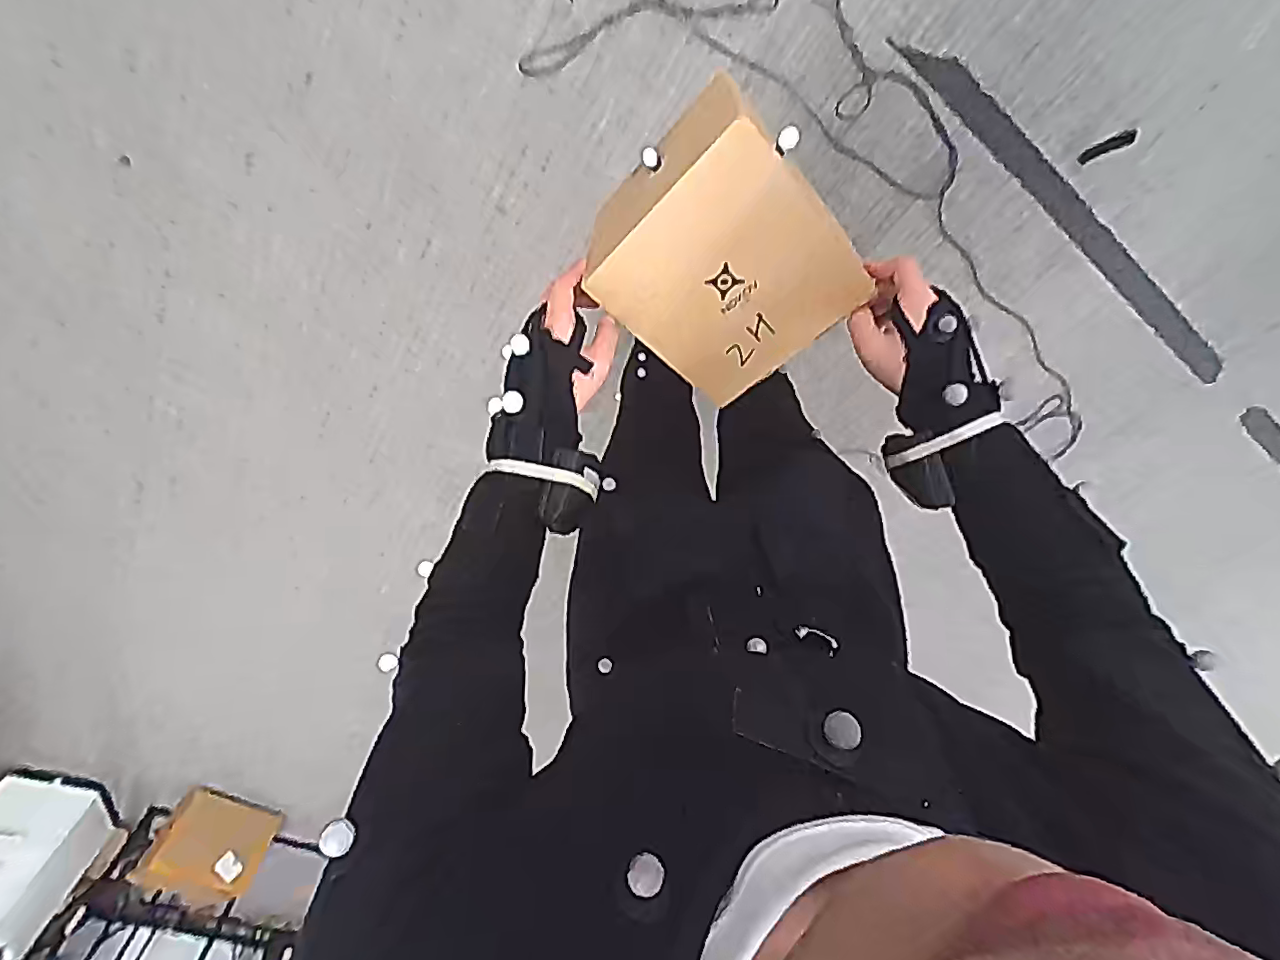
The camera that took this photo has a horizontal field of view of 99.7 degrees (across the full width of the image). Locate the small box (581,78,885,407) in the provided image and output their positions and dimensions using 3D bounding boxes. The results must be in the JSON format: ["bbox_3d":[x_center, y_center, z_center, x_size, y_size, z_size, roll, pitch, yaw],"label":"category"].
[{"bbox_3d":[0.073,-0.205,0.468,0.179,0.176,0.168,35,127,-29],"label":"small box"}]
